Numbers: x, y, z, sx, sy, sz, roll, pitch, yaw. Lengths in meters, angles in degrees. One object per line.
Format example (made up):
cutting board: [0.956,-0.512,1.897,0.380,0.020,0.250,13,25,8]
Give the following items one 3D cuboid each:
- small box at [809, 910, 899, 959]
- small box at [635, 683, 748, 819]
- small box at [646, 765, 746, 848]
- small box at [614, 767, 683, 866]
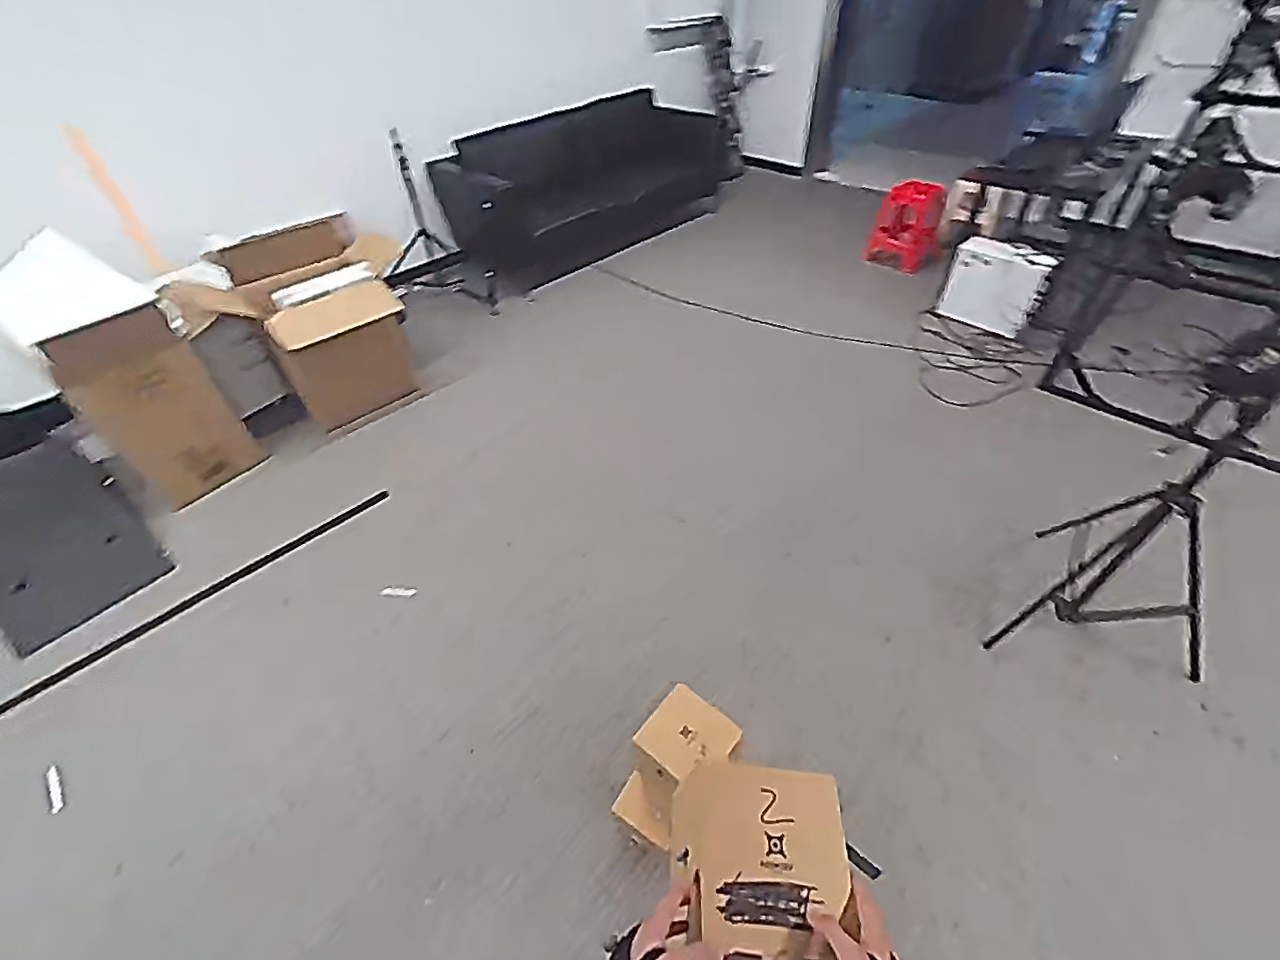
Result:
small box: [0.449,1.057,1.126,0.168,0.176,0.179,-35,53,-29]
small box: [0.107,0.585,1.163,0.179,0.176,0.168,30,52,30]
small box: [0.124,0.712,1.268,0.179,0.176,0.168,-32,50,-27]
small box: [0.052,0.835,1.379,0.168,0.176,0.179,23,50,26]
